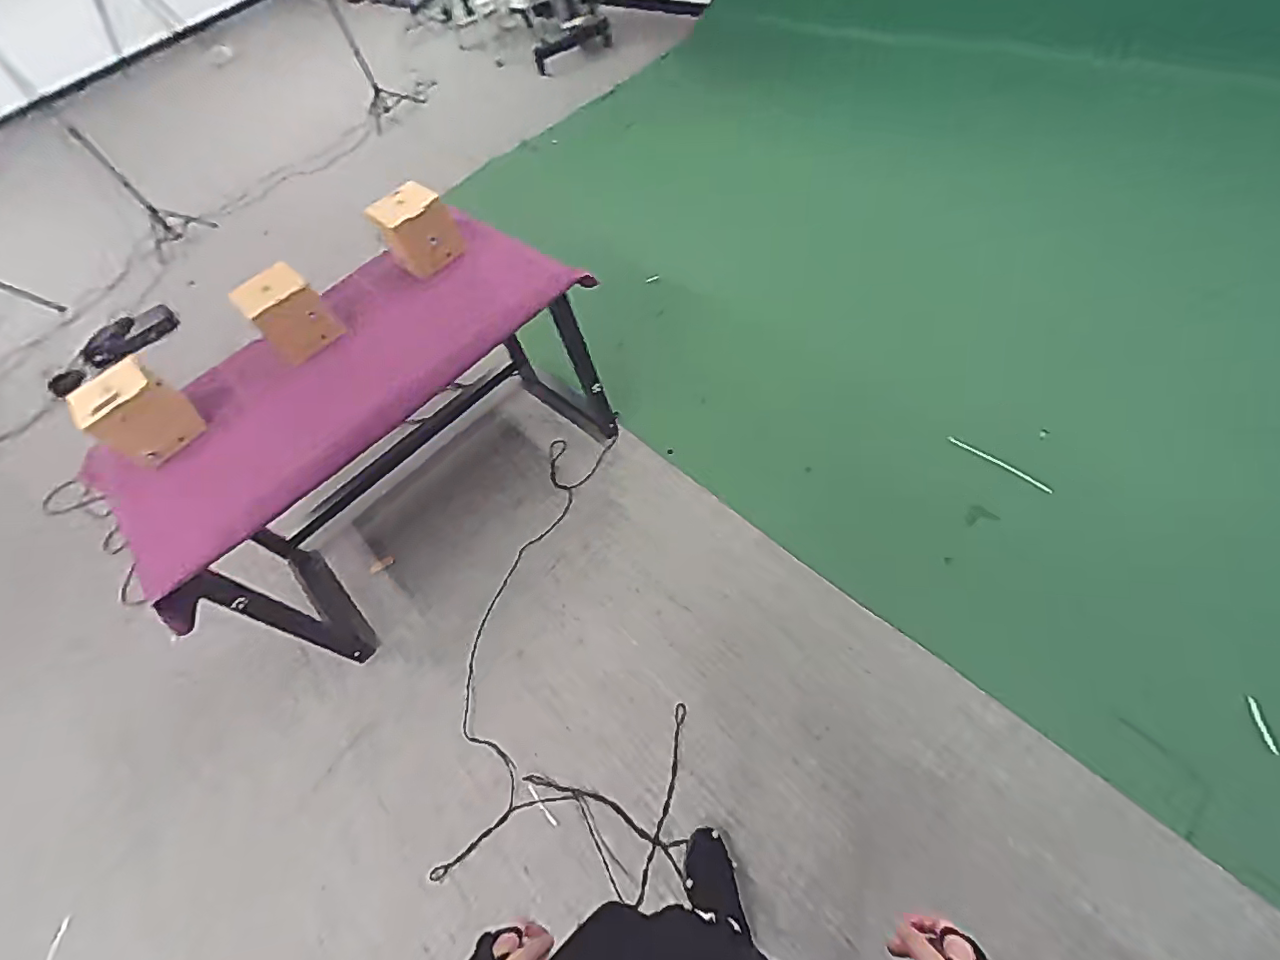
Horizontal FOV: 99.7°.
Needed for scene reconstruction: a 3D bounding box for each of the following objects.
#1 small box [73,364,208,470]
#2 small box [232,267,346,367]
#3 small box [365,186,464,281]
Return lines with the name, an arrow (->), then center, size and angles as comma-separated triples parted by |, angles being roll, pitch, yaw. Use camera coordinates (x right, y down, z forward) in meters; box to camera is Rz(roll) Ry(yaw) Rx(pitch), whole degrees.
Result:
small box -> -1.232, -0.149, 1.346 | 0.179, 0.176, 0.168 | 35, 71, 30
small box -> -0.942, -0.435, 1.463 | 0.179, 0.176, 0.168 | 36, 72, 30
small box -> -0.643, -0.706, 1.564 | 0.168, 0.176, 0.179 | -43, 59, -15
